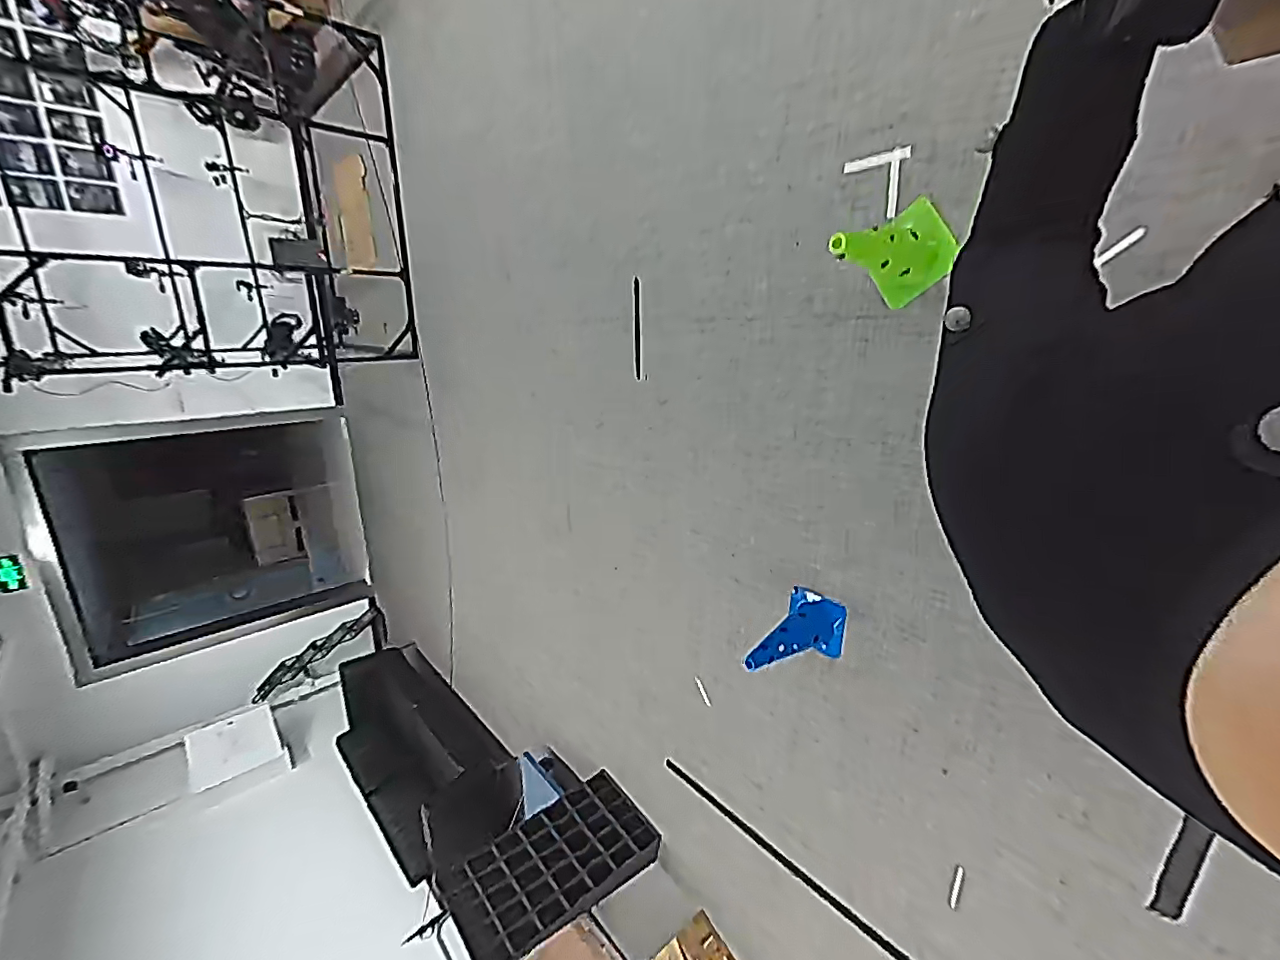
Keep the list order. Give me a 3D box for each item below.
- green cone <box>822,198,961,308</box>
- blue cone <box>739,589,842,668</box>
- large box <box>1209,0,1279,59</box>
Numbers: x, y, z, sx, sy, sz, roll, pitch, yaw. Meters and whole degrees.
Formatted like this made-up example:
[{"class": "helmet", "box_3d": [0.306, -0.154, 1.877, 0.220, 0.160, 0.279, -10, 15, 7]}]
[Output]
[{"class": "green cone", "box_3d": [0.544, -0.536, 1.258, 0.202, 0.368, 0.200, -39, 70, 49]}, {"class": "blue cone", "box_3d": [0.454, 0.503, 1.697, 0.192, 0.380, 0.193, 23, 117, 45]}, {"class": "large box", "box_3d": [0.556, -0.451, 0.223, 0.408, 0.320, 0.320, 17, 120, 44]}]
